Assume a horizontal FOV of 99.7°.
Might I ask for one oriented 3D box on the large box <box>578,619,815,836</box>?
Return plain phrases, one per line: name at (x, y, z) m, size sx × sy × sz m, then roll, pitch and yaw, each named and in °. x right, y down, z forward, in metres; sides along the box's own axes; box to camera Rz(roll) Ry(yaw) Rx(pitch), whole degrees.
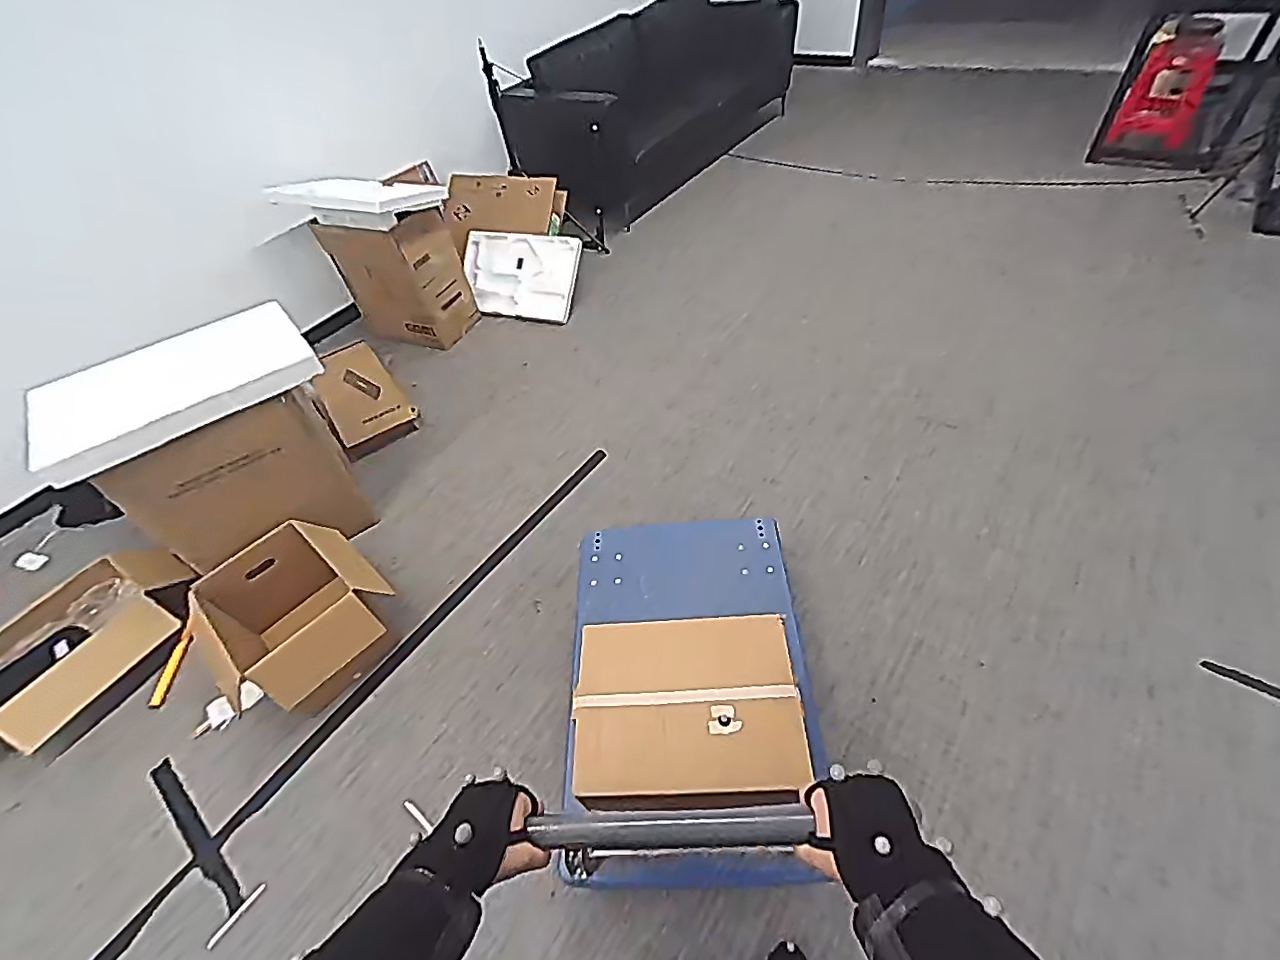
large box at (0.101, 0.509, 1.101) m, size 0.408 × 0.320 × 0.320 m, roll -5°, pitch 49°, yaw 4°
